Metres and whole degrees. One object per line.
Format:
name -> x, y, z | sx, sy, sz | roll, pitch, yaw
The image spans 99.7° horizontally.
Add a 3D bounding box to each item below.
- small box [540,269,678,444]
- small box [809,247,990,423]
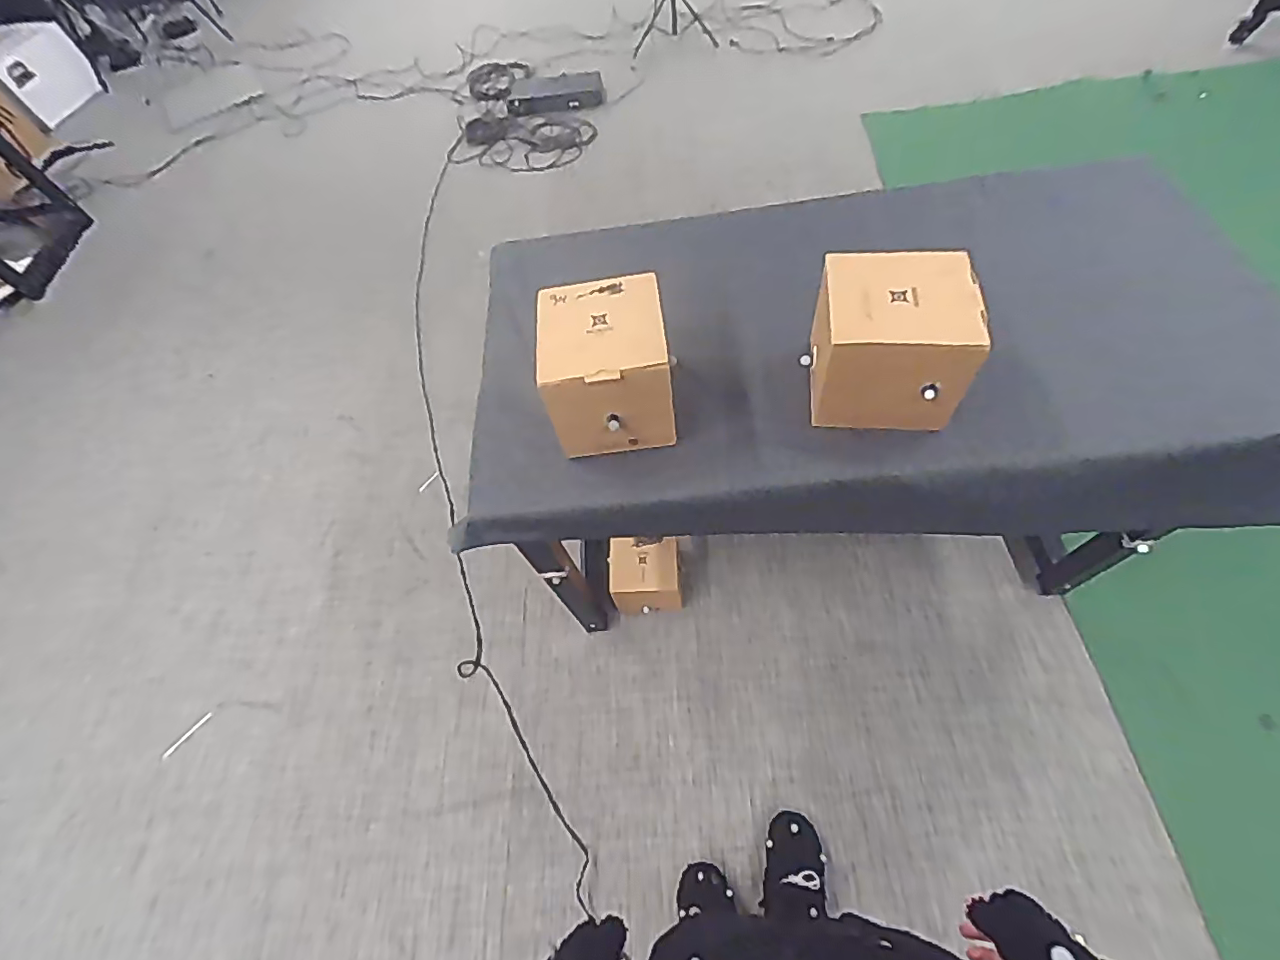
small box -> -0.039, -0.164, 0.768 | 0.168, 0.176, 0.179 | -8, 59, 3
small box -> 0.333, -0.190, 0.735 | 0.179, 0.176, 0.168 | 2, 59, 10
